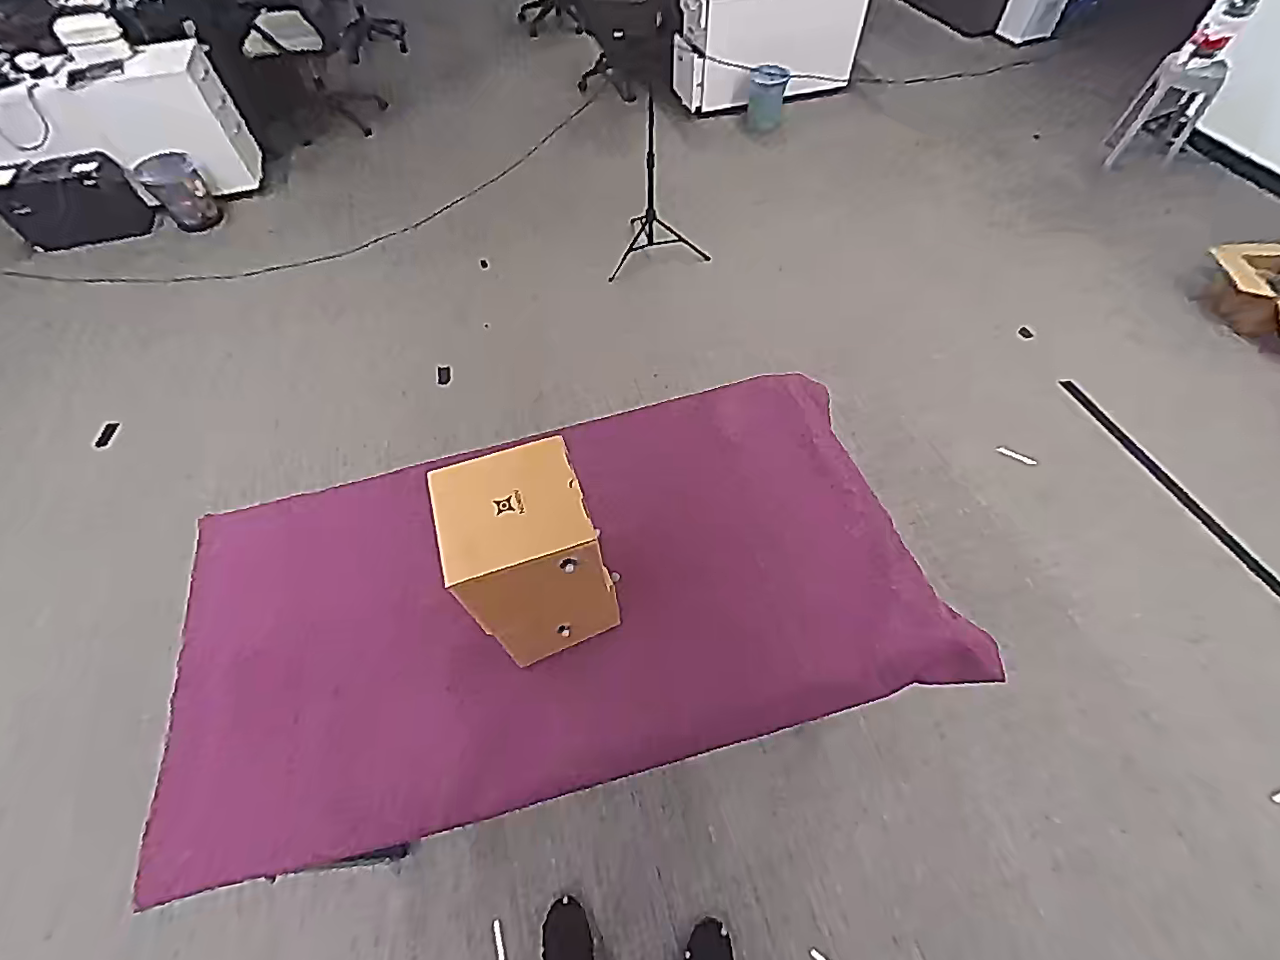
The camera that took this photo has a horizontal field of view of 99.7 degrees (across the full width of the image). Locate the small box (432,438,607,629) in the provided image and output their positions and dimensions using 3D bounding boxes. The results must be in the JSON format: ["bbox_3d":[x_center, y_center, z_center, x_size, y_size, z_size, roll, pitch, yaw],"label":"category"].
[{"bbox_3d":[-0.153,0.076,0.716,0.179,0.176,0.168,-17,57,-10],"label":"small box"}]
